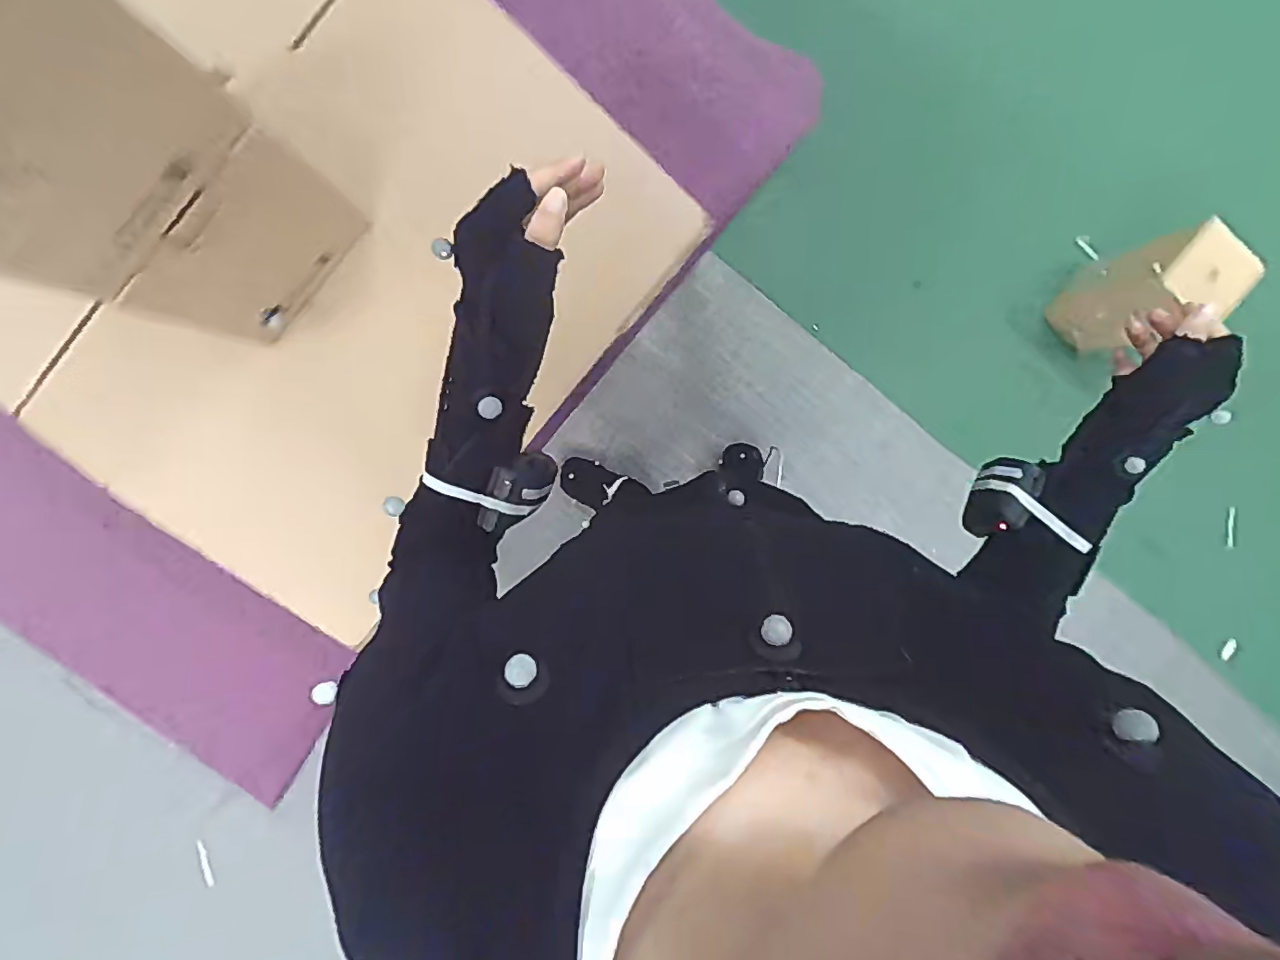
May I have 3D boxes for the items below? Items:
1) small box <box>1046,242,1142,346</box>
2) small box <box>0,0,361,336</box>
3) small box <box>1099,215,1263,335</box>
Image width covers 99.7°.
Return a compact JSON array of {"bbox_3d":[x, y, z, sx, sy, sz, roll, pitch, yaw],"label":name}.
[{"bbox_3d":[1.219,-0.473,1.402,0.168,0.176,0.179,40,93,-5],"label":"small box"},{"bbox_3d":[-0.378,-0.238,0.446,0.179,0.176,0.168,40,93,-3],"label":"small box"},{"bbox_3d":[1.226,-0.458,1.240,0.168,0.176,0.179,38,93,-6],"label":"small box"}]
